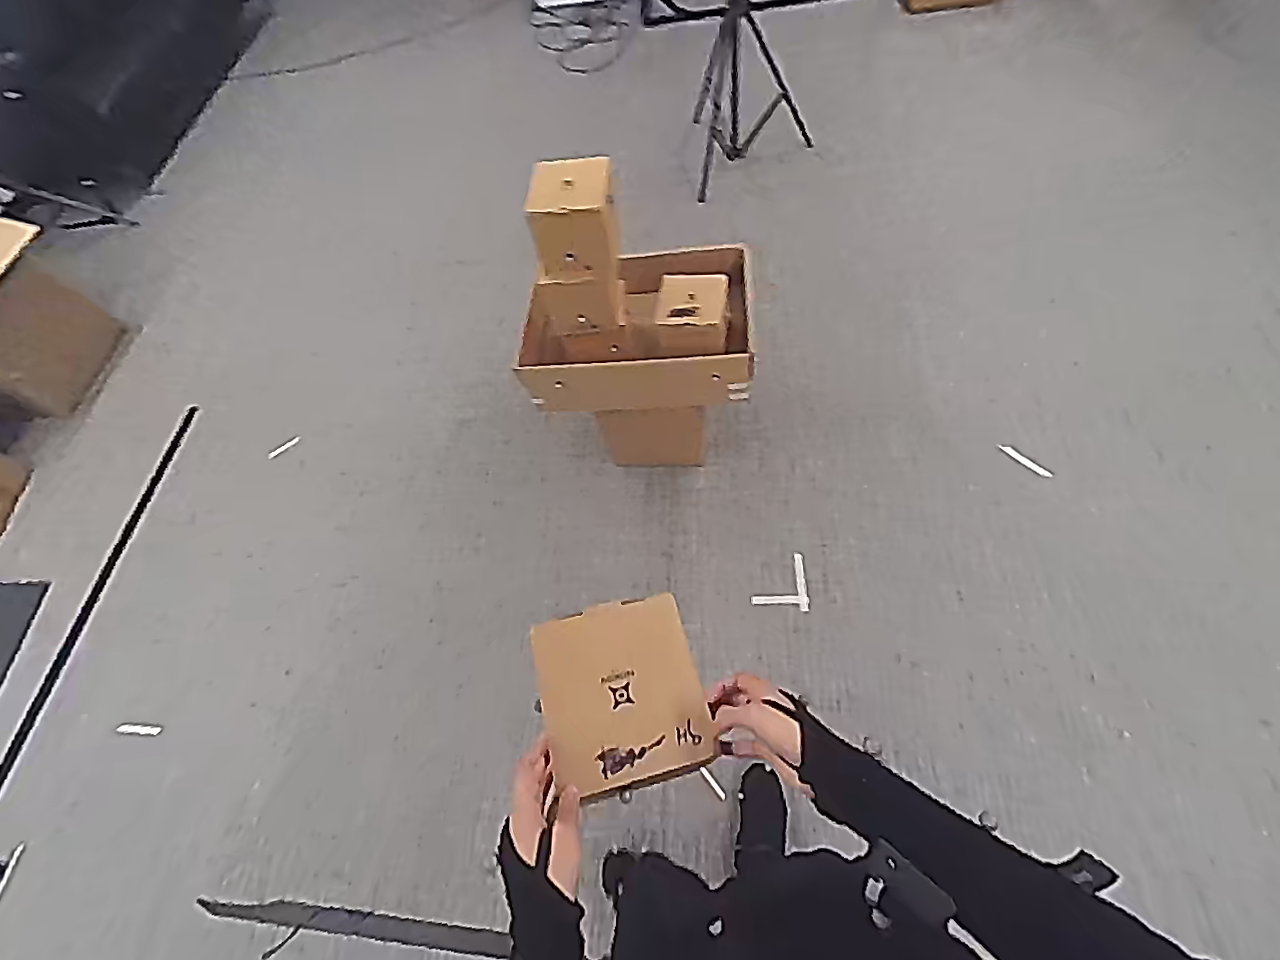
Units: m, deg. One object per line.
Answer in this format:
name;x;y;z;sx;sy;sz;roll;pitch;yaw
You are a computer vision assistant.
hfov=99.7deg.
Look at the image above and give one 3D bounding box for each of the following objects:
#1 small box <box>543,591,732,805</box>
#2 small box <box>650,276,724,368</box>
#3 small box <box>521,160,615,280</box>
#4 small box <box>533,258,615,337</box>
small box;-0.012;0.254;0.624;0.168;0.176;0.179;-11;58;-10
small box;0.131;-0.413;1.434;0.168;0.176;0.179;4;63;12
small box;-0.151;-0.570;1.197;0.168;0.176;0.179;-2;62;7
small box;-0.157;-0.480;1.336;0.168;0.176;0.179;-5;62;6
